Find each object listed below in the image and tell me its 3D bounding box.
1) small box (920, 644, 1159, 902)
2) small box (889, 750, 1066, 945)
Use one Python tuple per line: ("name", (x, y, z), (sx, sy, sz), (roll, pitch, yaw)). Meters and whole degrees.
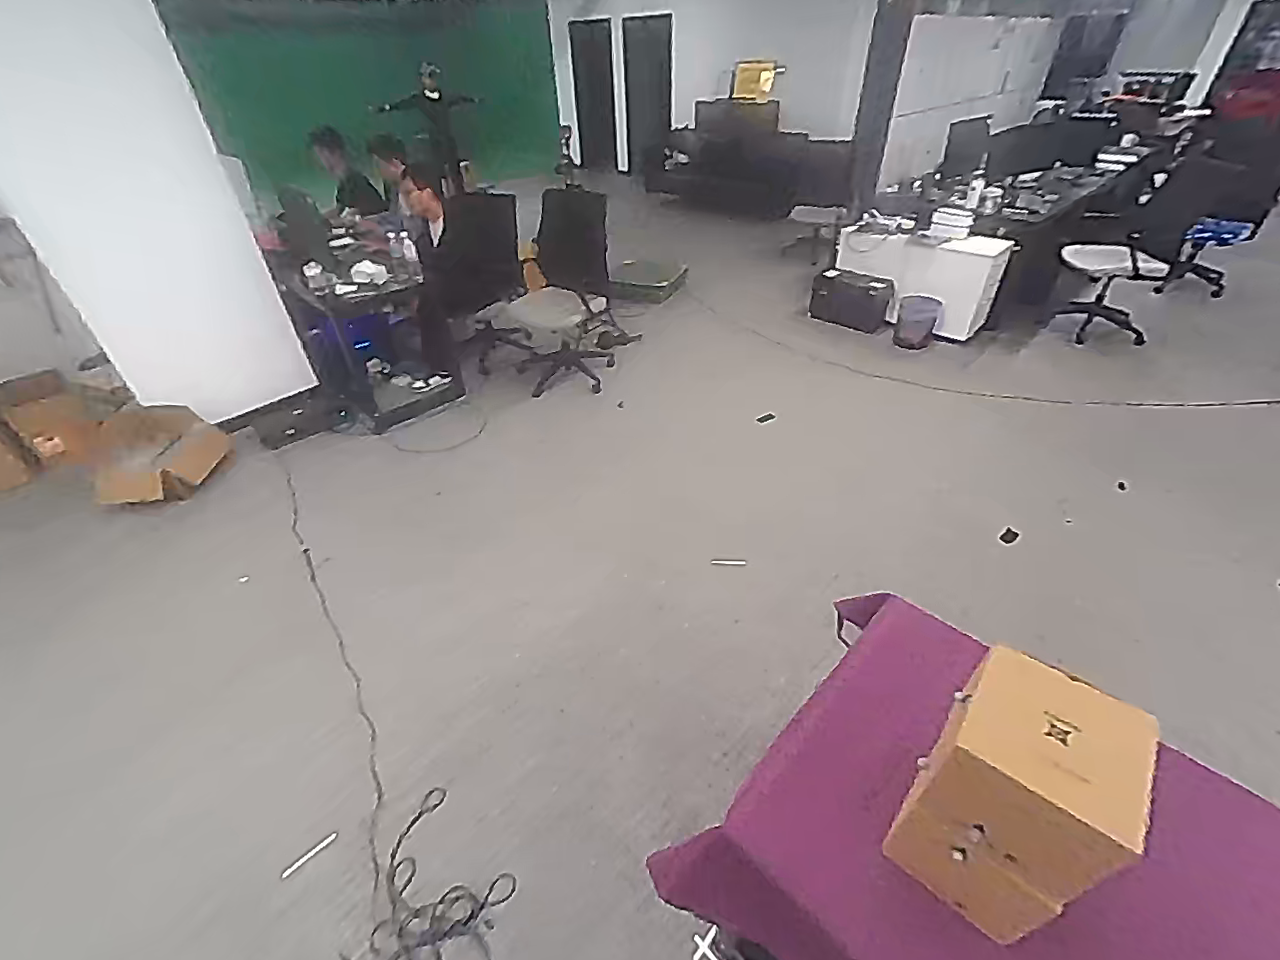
("small box", (0.463, 0.342, 0.644), (0.168, 0.176, 0.179), (28, 47, 32))
("small box", (0.469, 0.474, 0.742), (0.168, 0.176, 0.179), (29, 47, 33))
